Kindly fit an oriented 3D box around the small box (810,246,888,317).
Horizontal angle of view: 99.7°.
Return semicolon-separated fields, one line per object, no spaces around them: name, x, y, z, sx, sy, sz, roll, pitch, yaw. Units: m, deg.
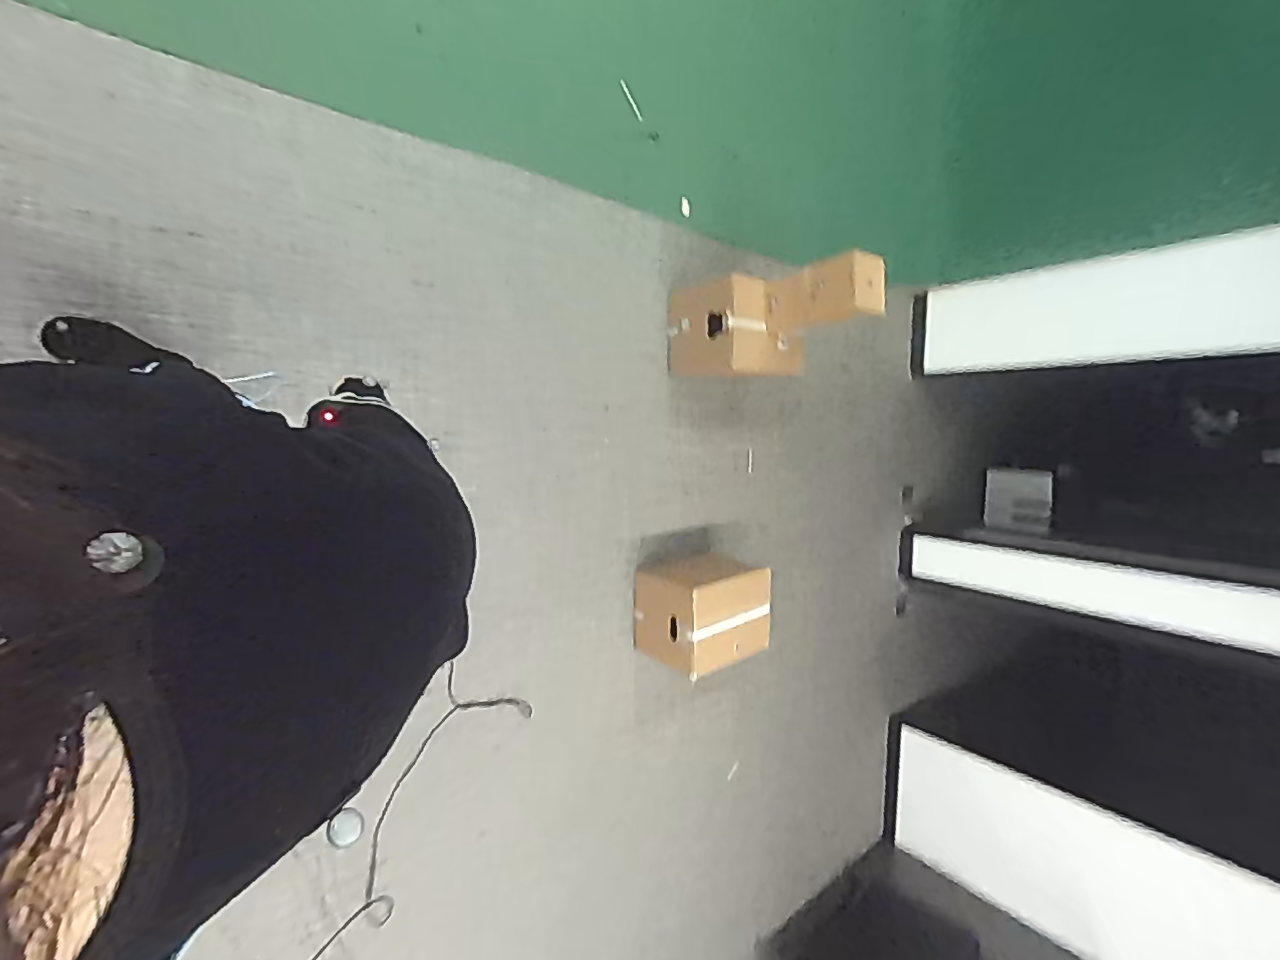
small box;0.658;-0.618;1.705;0.179;0.176;0.168;-6;96;-37

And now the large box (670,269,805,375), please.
large box;0.360;-0.560;1.996;0.408;0.320;0.320;-6;98;-39
